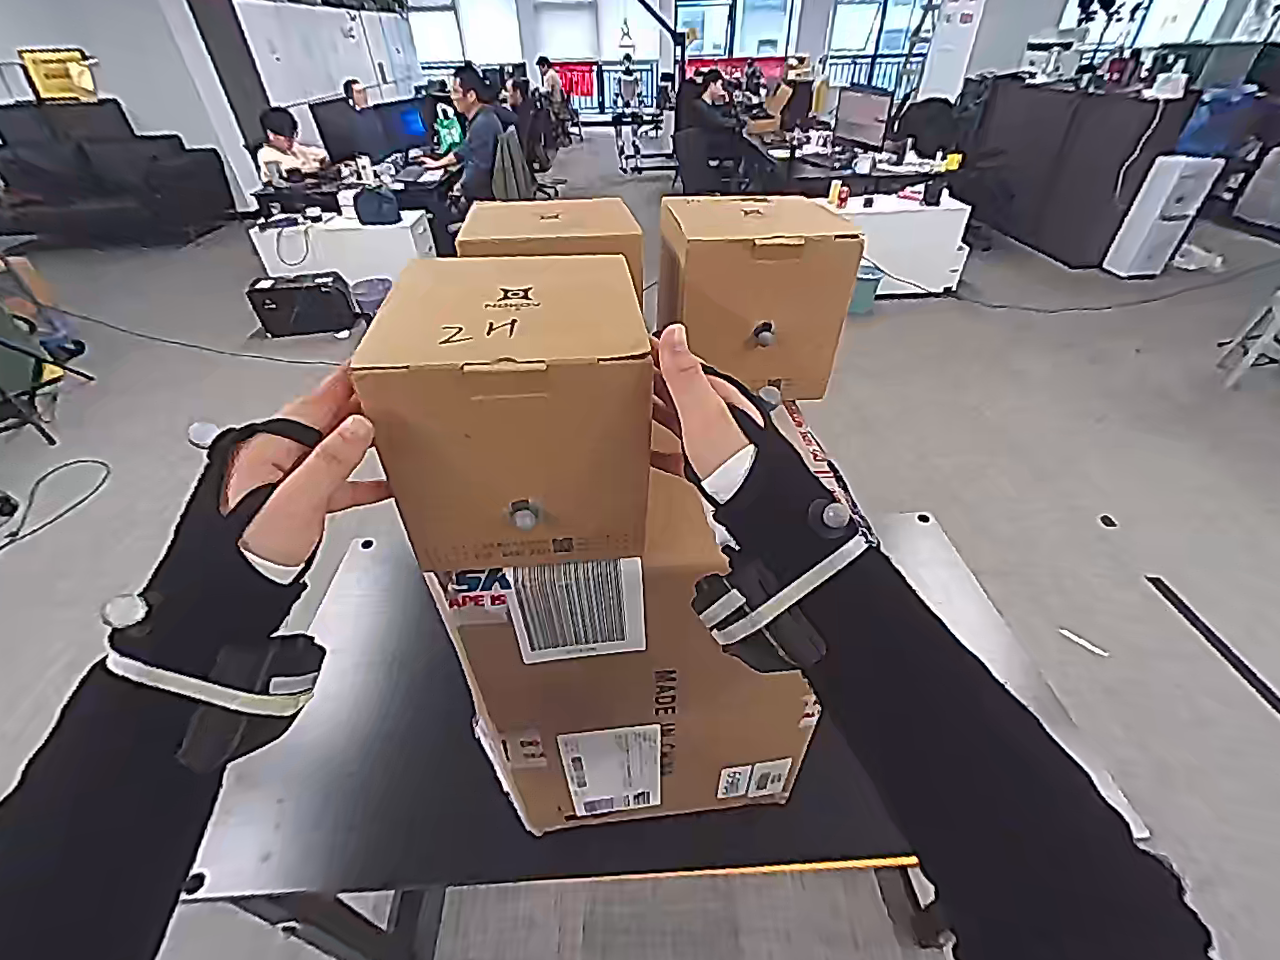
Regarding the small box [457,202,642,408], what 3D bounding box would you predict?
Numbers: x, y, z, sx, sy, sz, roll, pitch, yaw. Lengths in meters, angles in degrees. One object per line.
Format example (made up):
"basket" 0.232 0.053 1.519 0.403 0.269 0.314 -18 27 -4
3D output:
"small box" -0.092 -0.195 0.593 0.168 0.176 0.179 -6 38 -7
